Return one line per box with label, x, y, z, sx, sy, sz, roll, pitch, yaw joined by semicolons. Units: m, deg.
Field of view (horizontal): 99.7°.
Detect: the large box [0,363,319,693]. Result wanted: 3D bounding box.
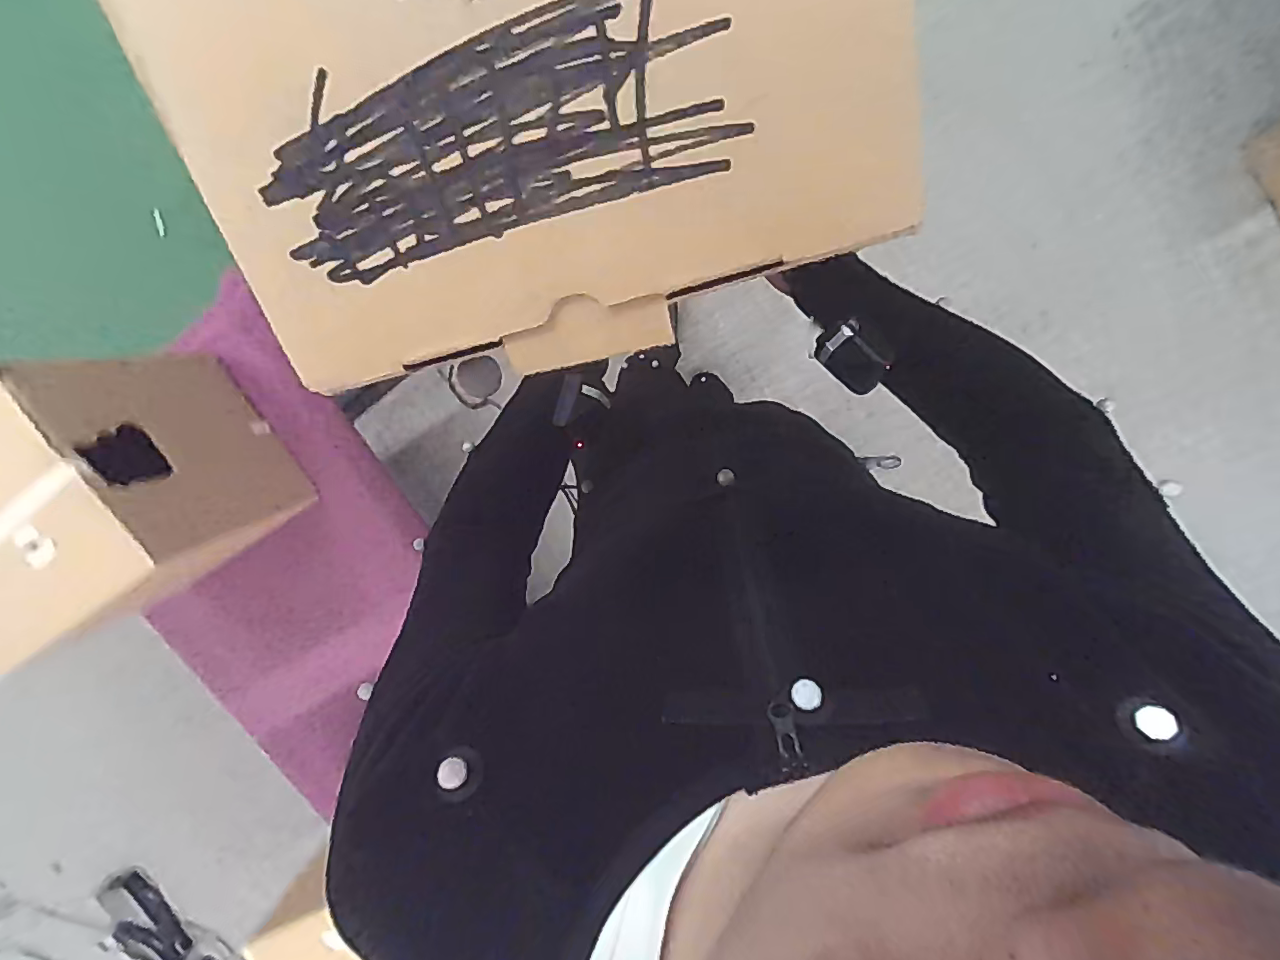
large box;-0.843;0.054;0.870;0.408;0.320;0.320;-31;100;13
